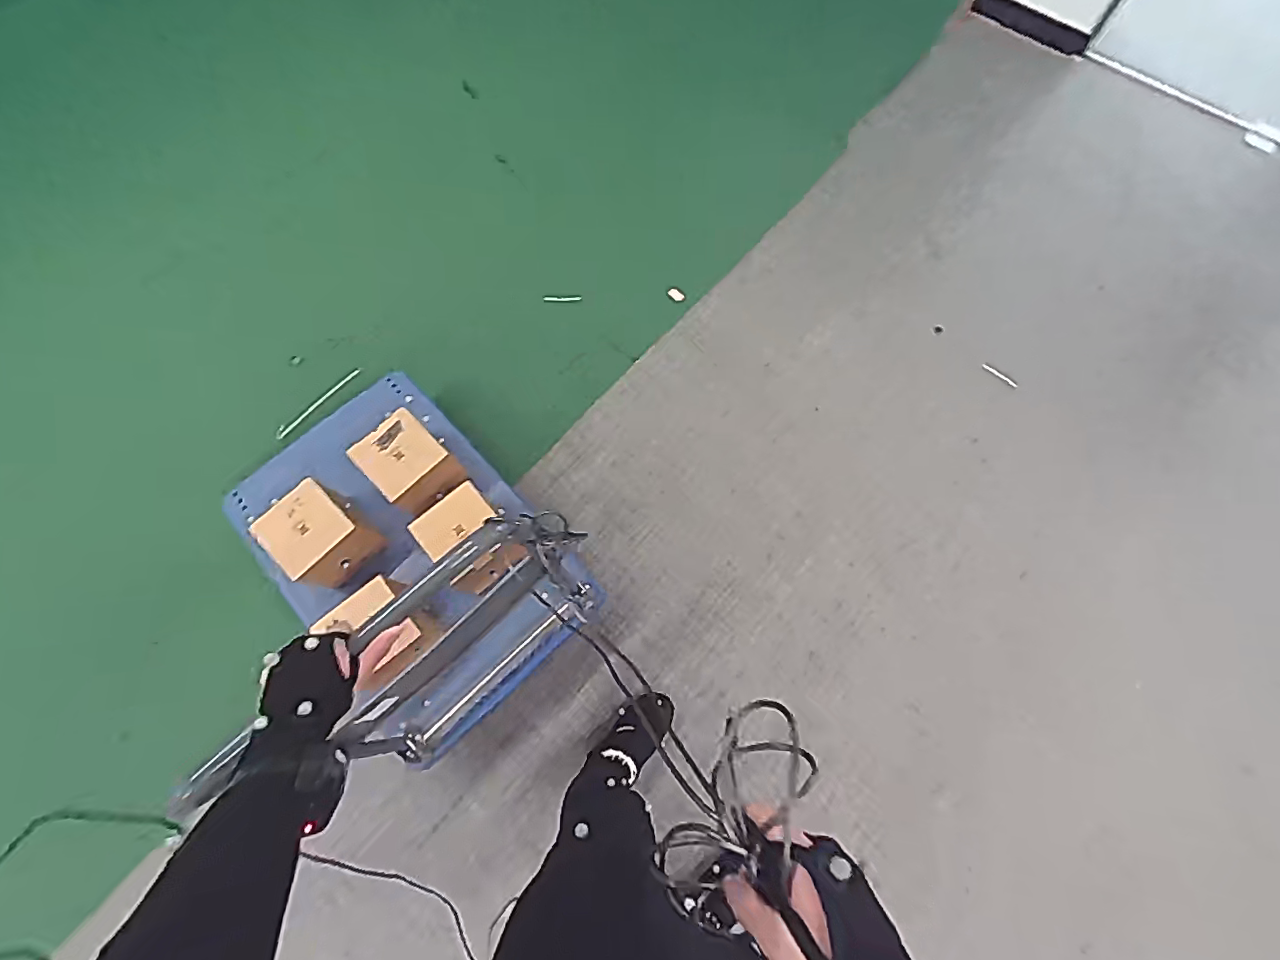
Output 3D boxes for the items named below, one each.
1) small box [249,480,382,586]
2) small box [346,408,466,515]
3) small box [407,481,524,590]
[{"bbox_3d":[-0.747,0.132,1.266,0.179,0.176,0.168,42,77,13],"label":"small box"},{"bbox_3d":[-0.561,-0.037,1.317,0.179,0.176,0.168,43,79,12],"label":"small box"},{"bbox_3d":[-0.397,0.137,1.259,0.168,0.176,0.179,-40,76,-11],"label":"small box"}]
